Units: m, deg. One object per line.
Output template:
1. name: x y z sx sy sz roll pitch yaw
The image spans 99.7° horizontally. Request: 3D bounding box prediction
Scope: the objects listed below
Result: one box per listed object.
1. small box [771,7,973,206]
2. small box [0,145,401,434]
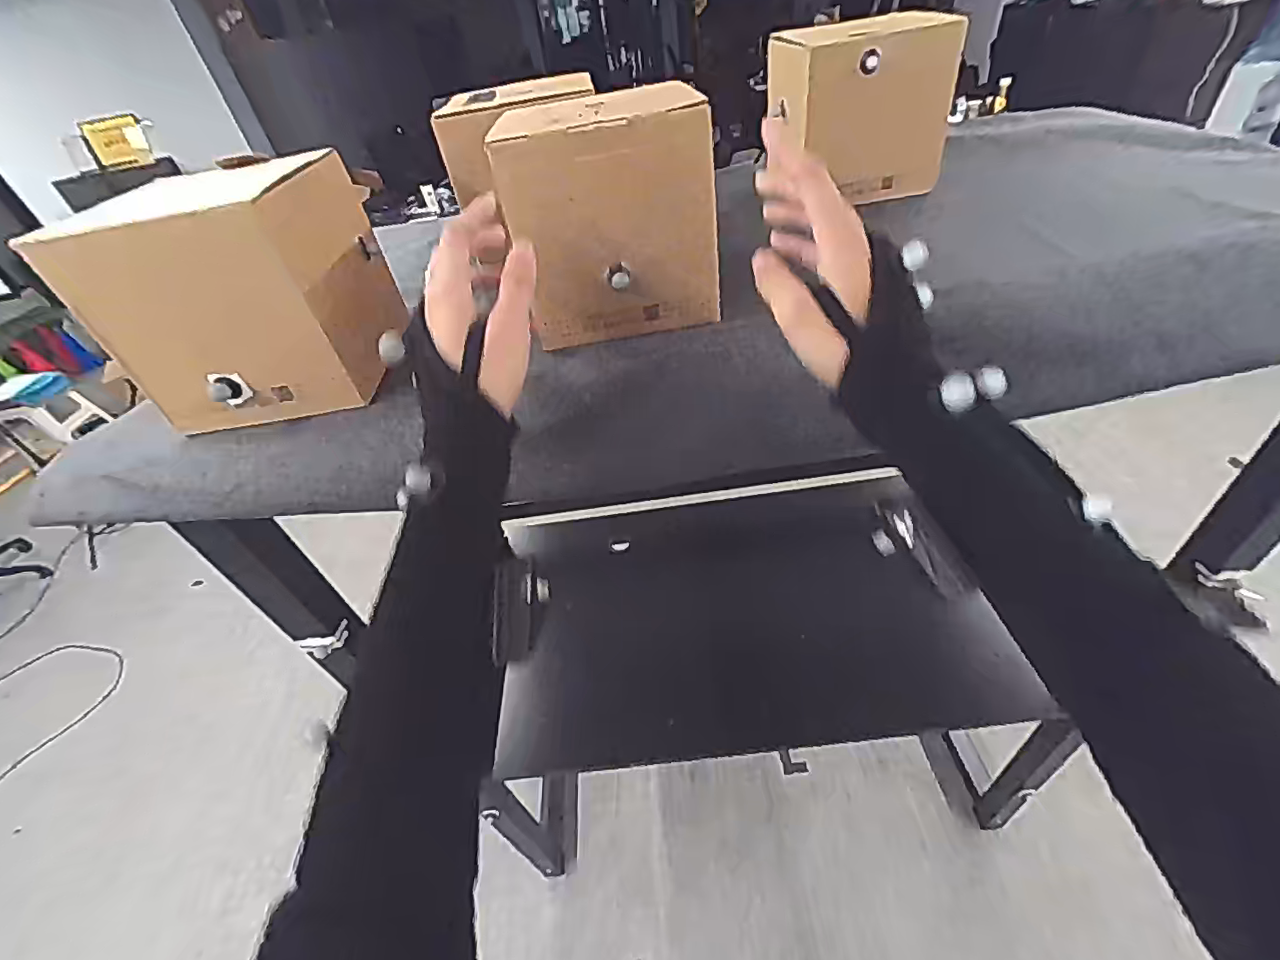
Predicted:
1. small box: 0.261 -0.453 0.661 0.168 0.176 0.179 -9 41 2
2. small box: -0.327 -0.163 0.458 0.168 0.176 0.179 -10 41 1
